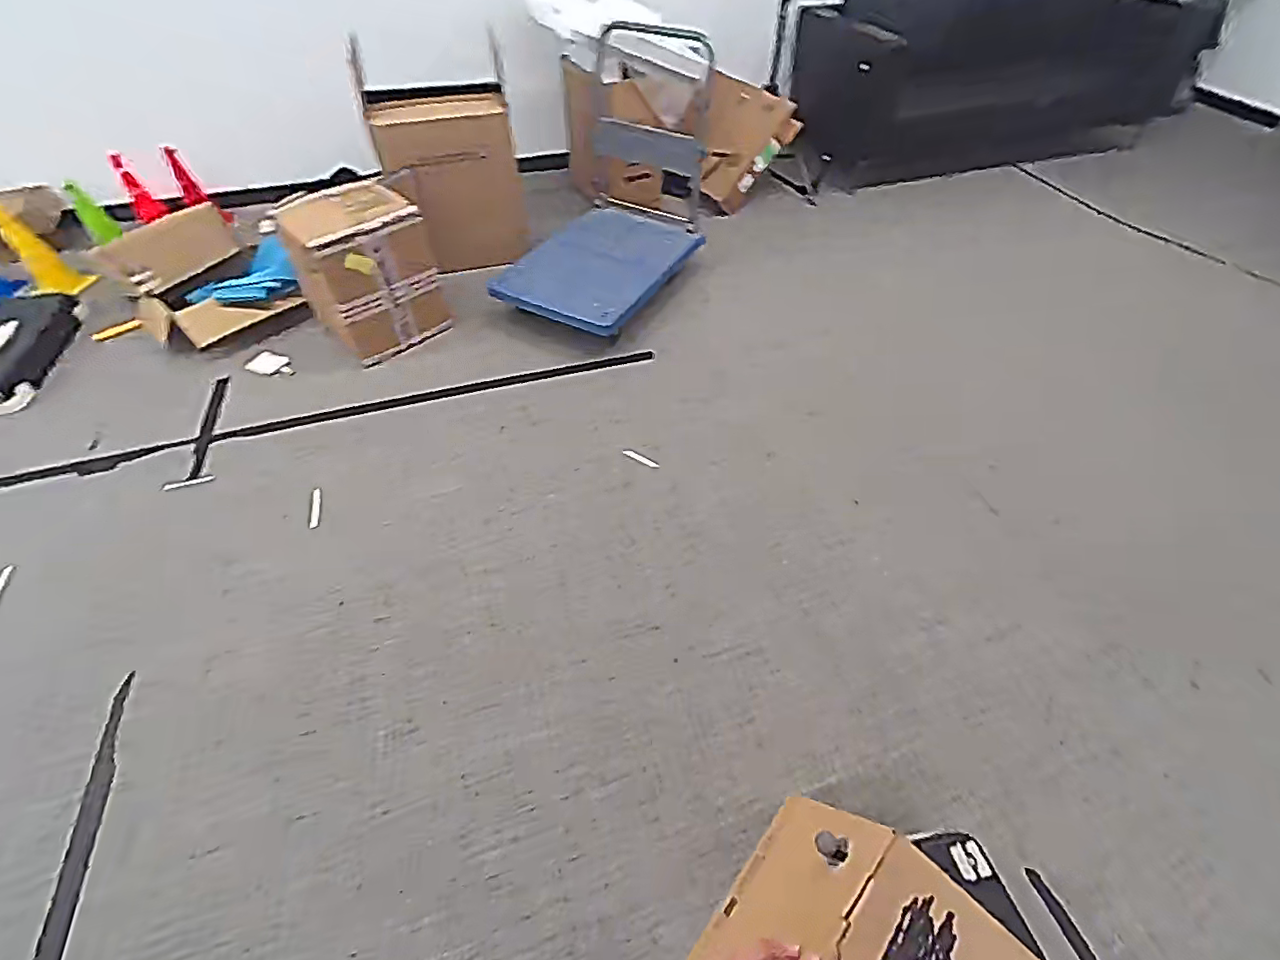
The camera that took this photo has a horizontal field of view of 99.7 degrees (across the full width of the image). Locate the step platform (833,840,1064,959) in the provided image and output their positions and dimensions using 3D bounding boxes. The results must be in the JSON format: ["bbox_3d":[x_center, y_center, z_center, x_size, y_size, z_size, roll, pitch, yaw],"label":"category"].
[{"bbox_3d":[0.585,0.951,0.805,0.286,0.204,0.684,-13,50,-11],"label":"step platform"}]
